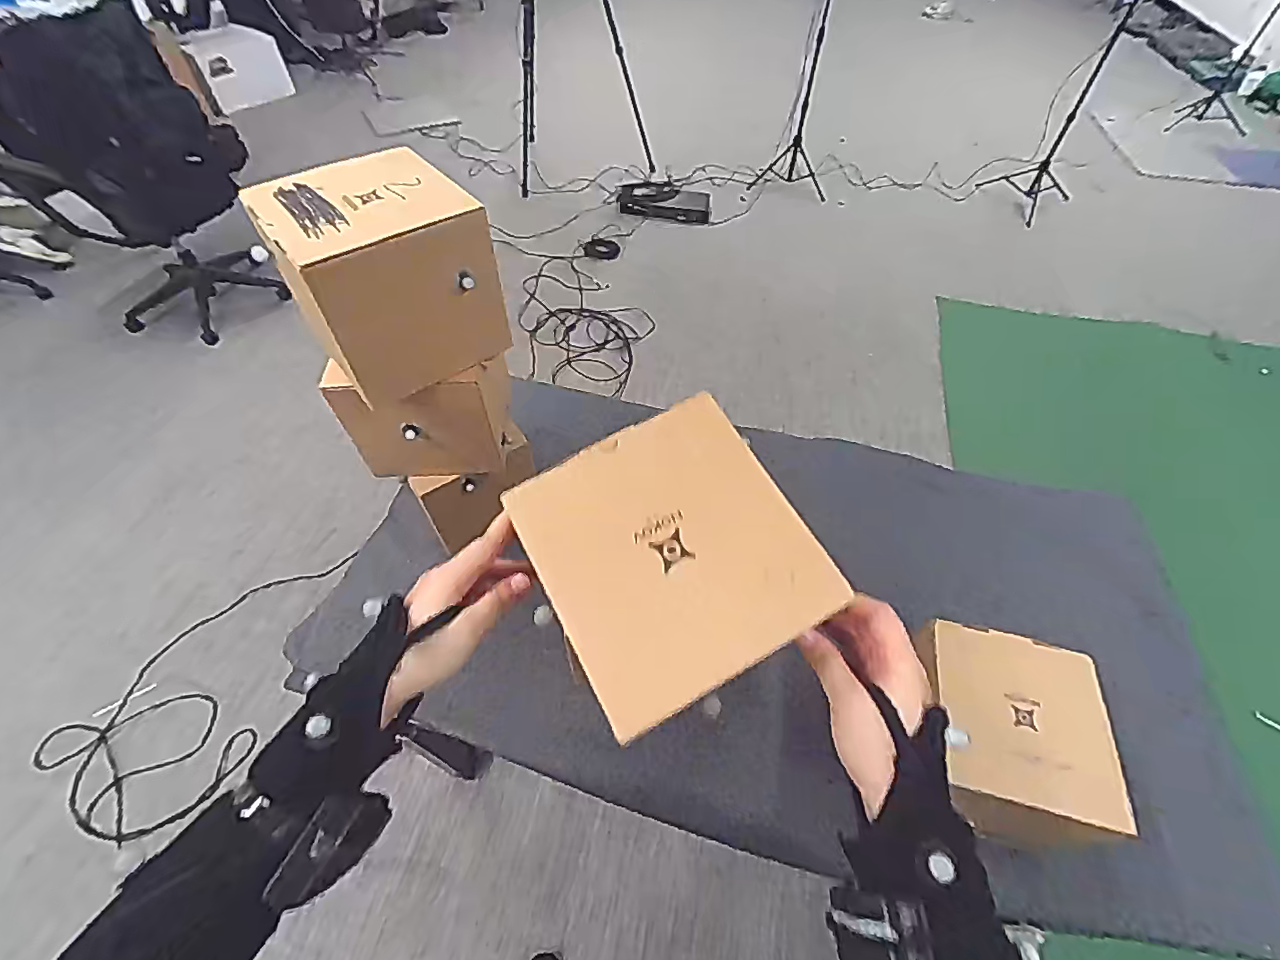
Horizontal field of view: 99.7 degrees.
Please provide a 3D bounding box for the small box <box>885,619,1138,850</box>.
[{"bbox_3d":[0.388,0.287,0.608,0.168,0.176,0.179,11,52,10],"label":"small box"}]

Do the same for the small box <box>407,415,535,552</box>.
[{"bbox_3d":[-0.273,-0.021,0.846,0.168,0.176,0.179,-30,58,-21],"label":"small box"}]

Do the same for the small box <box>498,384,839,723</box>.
[{"bbox_3d":[0.018,0.066,0.424,0.168,0.176,0.179,-28,67,-9],"label":"small box"}]

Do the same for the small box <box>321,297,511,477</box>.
[{"bbox_3d":[-0.273,-0.118,0.712,0.179,0.176,0.168,-4,53,-2],"label":"small box"}]
